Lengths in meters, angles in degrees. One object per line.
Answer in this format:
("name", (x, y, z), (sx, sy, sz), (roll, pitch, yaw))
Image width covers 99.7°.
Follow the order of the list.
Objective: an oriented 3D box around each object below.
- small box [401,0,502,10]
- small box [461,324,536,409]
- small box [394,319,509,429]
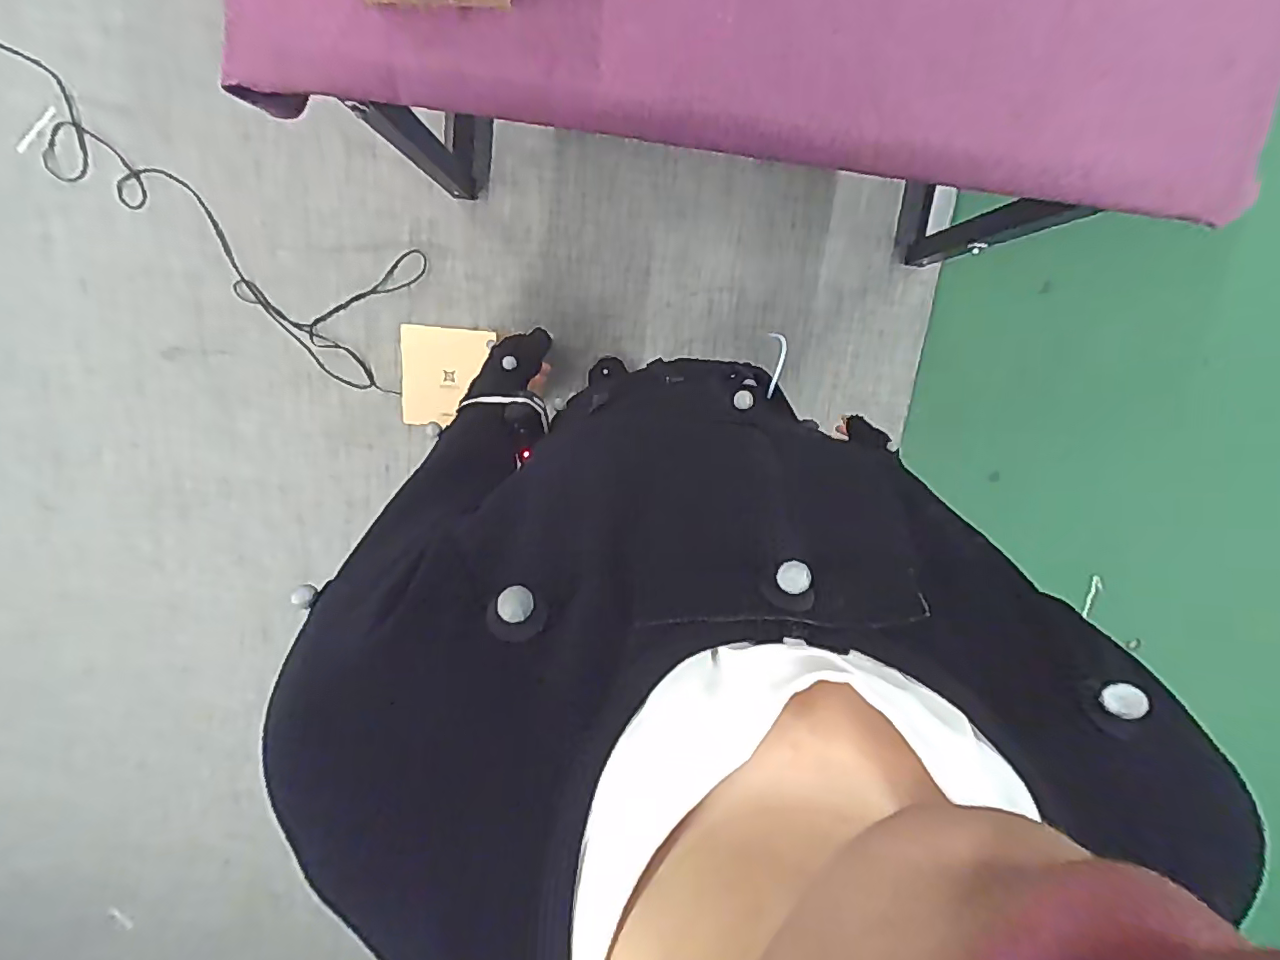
("small box", (-0.226, -0.605, 0.513), (0.168, 0.176, 0.179), (2, 103, -2))
("small box", (-0.356, -0.282, 1.335), (0.168, 0.176, 0.179), (8, 104, -3))
("small box", (-0.346, -0.203, 1.016), (0.168, 0.176, 0.179), (5, 106, -3))
